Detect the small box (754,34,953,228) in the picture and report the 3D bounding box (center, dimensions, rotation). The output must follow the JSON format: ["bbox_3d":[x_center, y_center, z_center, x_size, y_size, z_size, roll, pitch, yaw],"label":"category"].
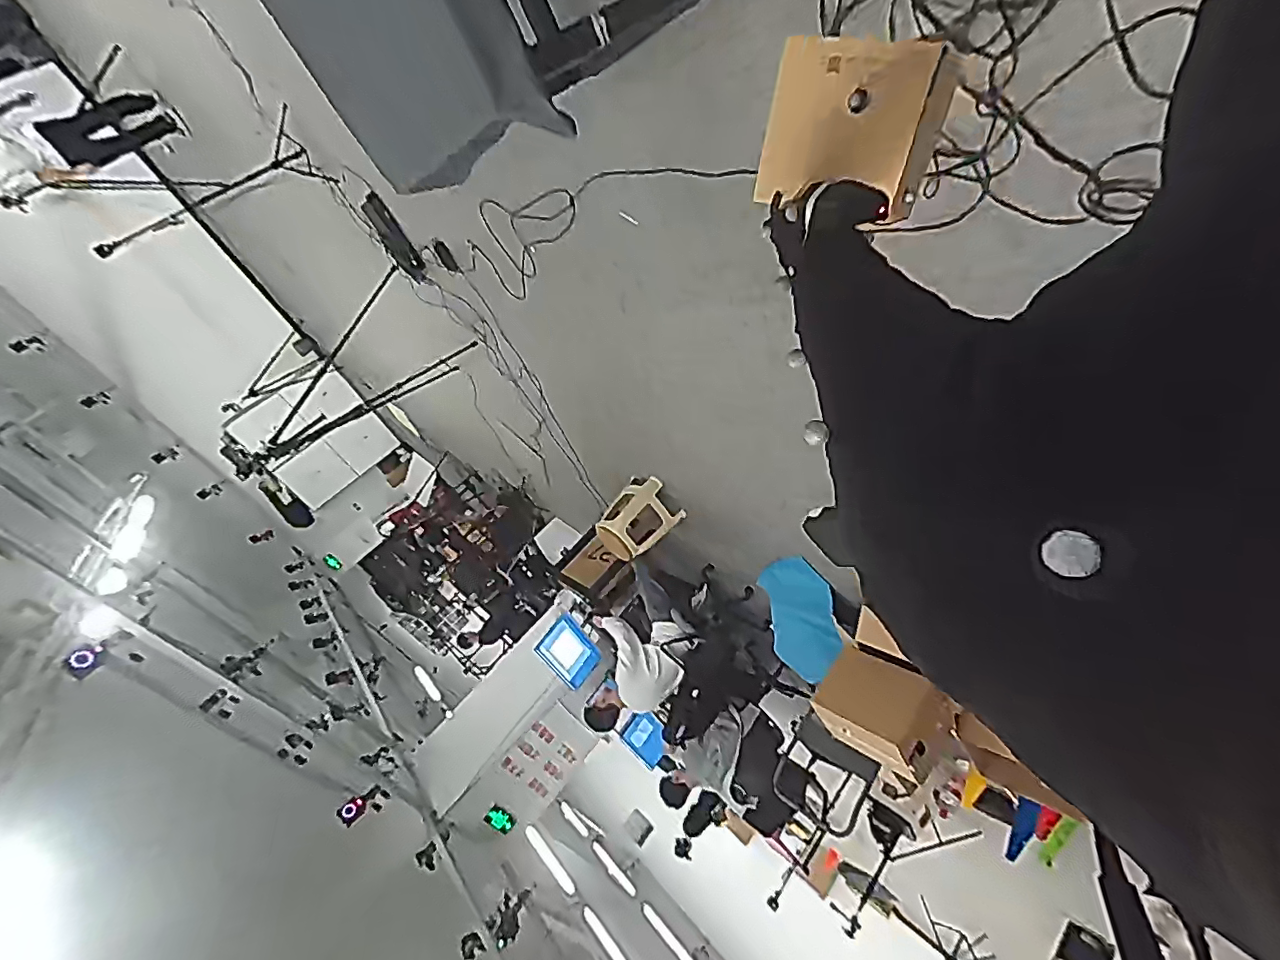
[{"bbox_3d":[0.263,-0.424,0.665,0.168,0.179,0.176,23,128,23],"label":"small box"}]
